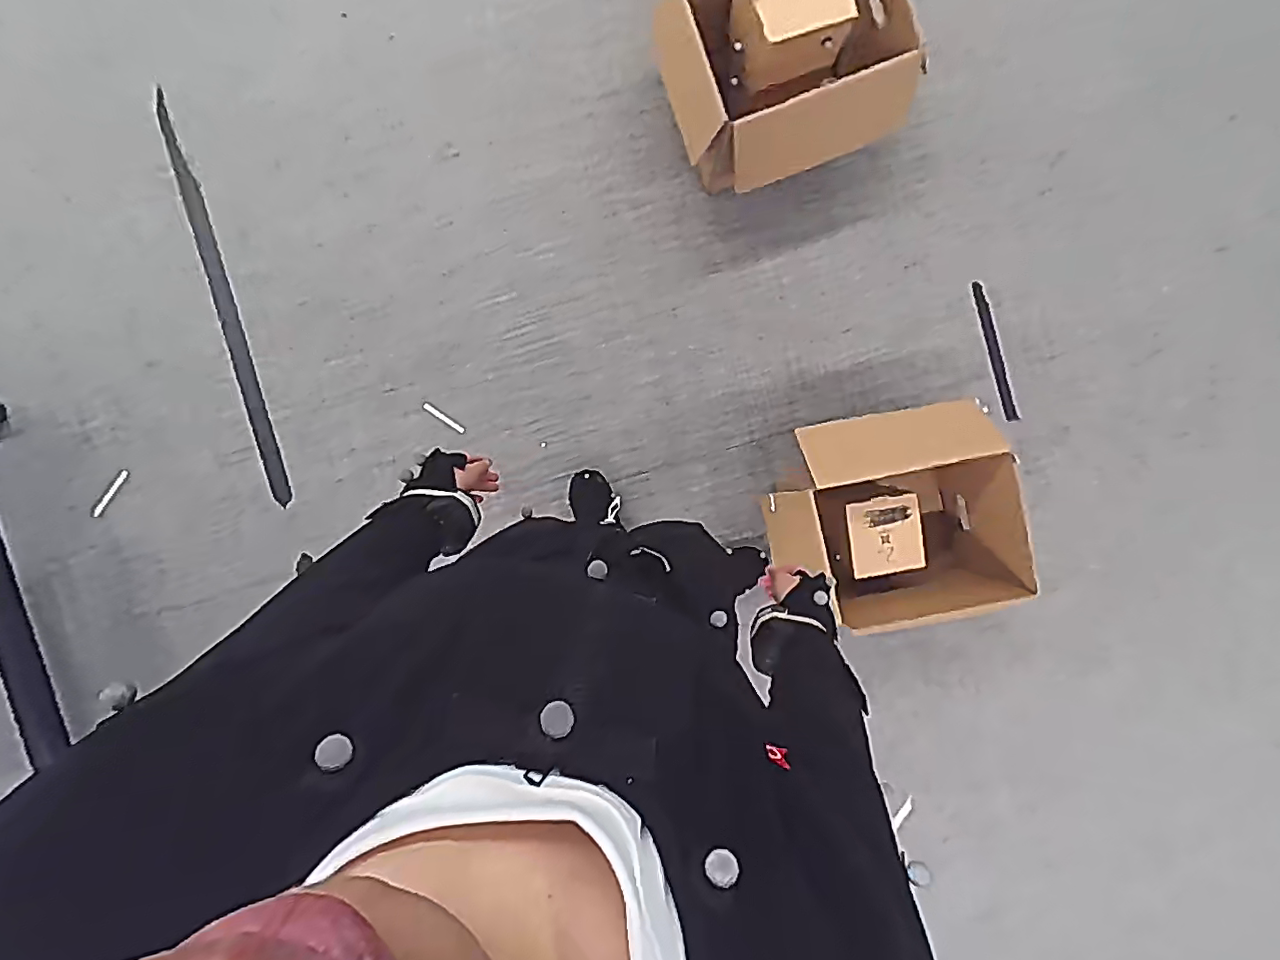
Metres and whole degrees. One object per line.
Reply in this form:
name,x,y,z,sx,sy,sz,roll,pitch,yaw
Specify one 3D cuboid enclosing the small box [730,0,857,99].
small box,0.295,-0.908,1.072,0.179,0.176,0.168,-17,92,1
